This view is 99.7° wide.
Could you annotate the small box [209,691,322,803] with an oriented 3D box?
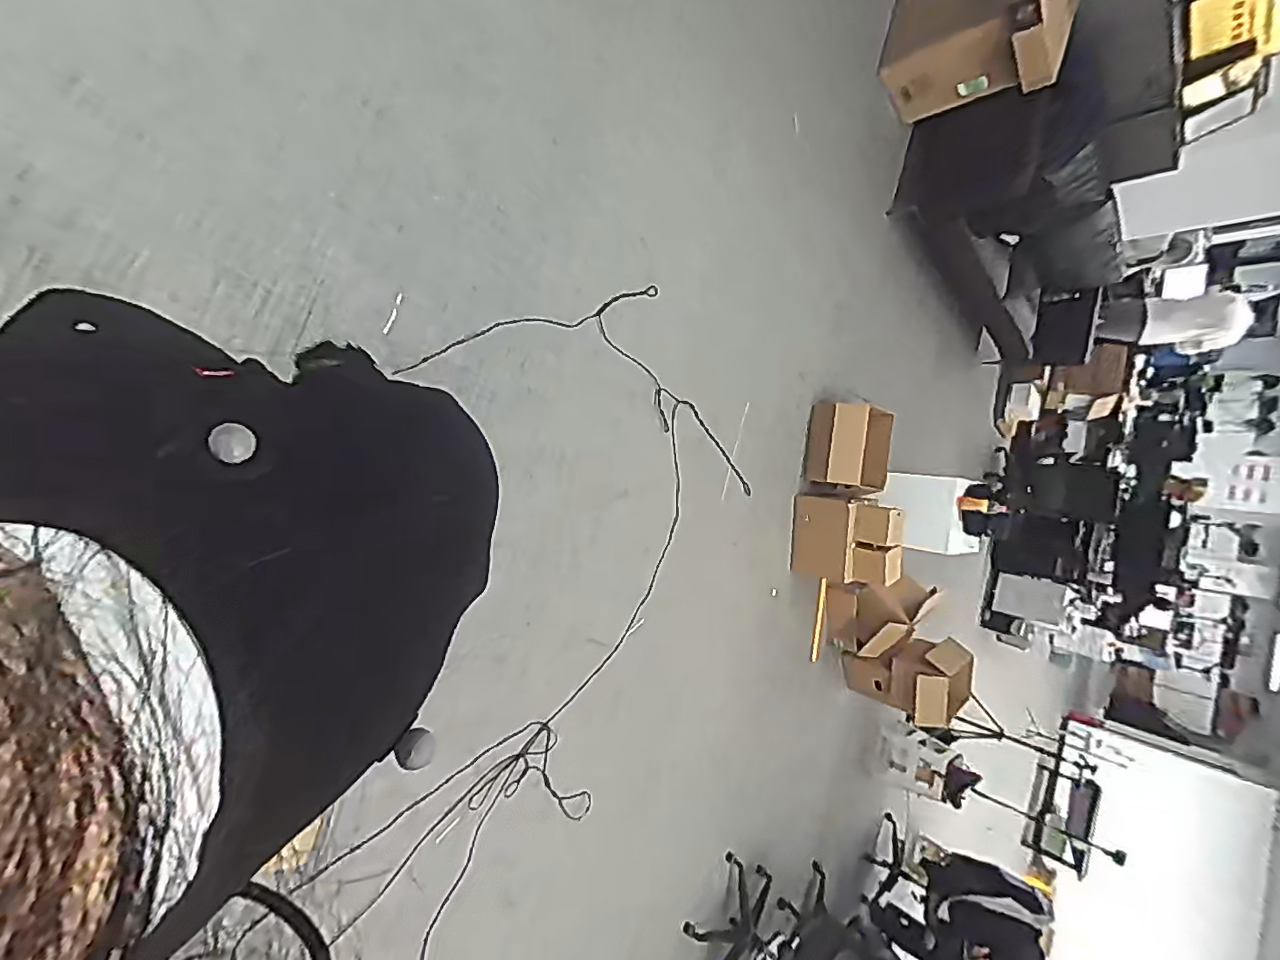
[{"bbox_3d":[-0.866,0.600,1.246,0.168,0.176,0.179,17,85,-44],"label":"small box"}]
